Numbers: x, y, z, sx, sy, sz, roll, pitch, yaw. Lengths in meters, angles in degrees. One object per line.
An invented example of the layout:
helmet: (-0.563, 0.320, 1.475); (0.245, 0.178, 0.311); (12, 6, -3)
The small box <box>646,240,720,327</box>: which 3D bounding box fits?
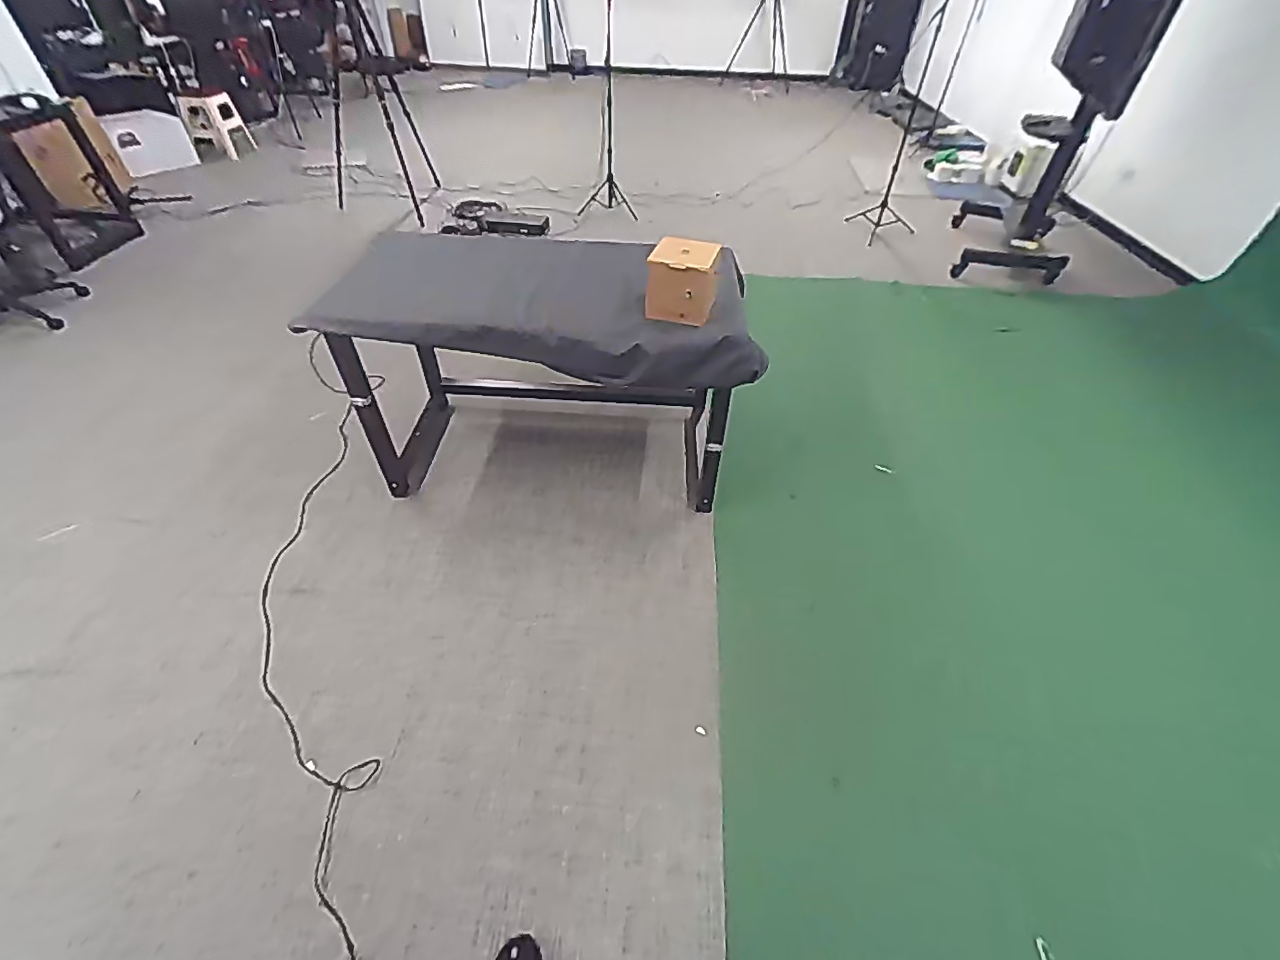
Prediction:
small box: (0.116, -0.544, 1.502); (0.168, 0.176, 0.179); (13, 44, 10)
